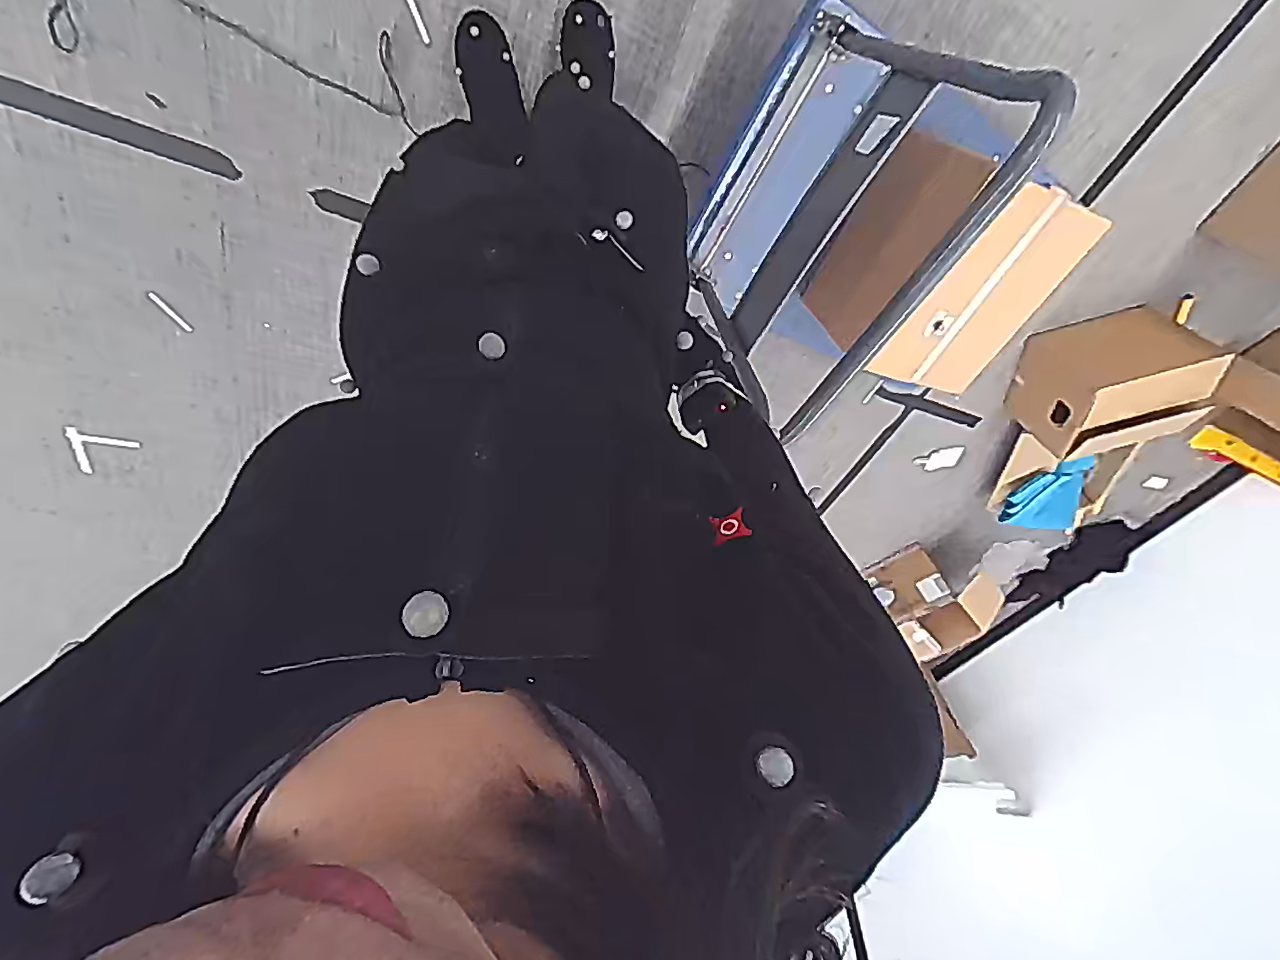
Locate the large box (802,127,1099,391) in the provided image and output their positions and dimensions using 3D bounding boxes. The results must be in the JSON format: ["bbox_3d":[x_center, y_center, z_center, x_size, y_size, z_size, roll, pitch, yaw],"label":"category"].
[{"bbox_3d":[0.631,-0.468,1.179,0.320,0.320,0.408,9,132,-20],"label":"large box"}]
